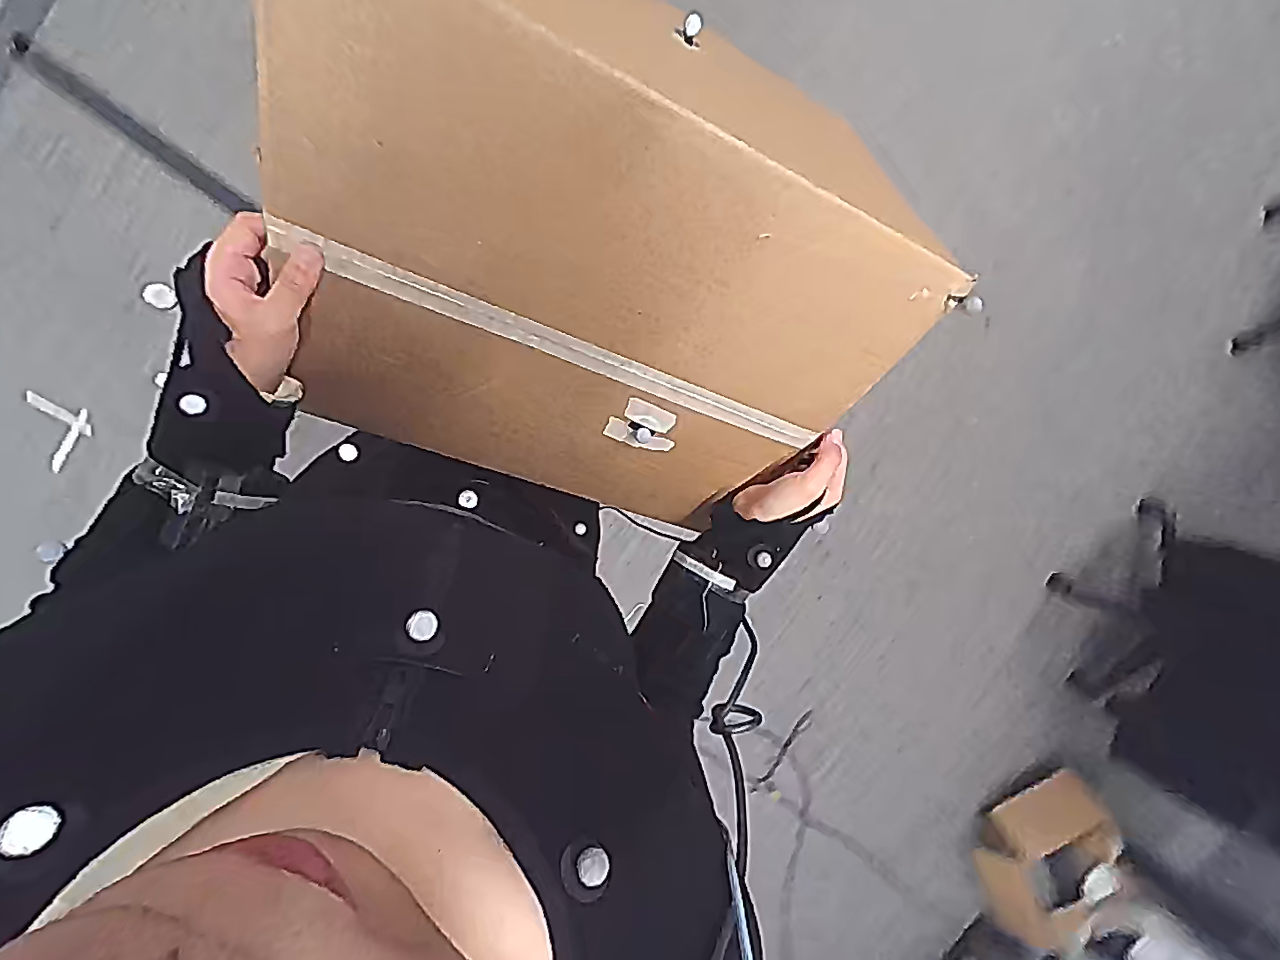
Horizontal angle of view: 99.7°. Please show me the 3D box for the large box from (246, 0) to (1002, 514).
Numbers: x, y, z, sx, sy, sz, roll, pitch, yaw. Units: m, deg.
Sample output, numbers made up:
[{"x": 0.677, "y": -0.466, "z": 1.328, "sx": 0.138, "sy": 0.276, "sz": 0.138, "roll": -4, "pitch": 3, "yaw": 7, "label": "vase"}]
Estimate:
[{"x": -0.031, "y": -0.219, "z": 0.456, "sx": 0.408, "sy": 0.320, "sz": 0.320, "roll": 16, "pitch": 138, "yaw": -19, "label": "large box"}]
